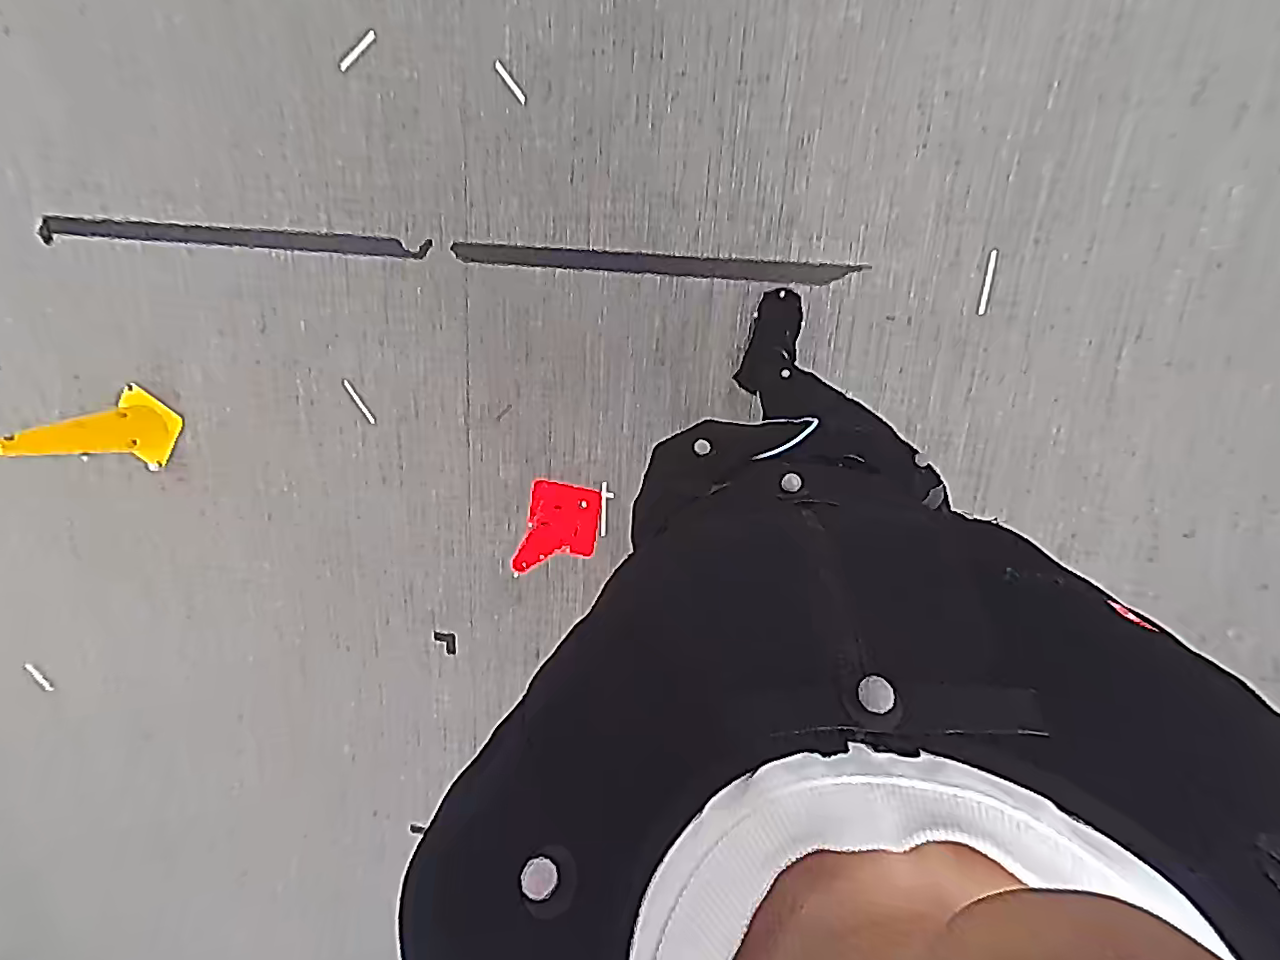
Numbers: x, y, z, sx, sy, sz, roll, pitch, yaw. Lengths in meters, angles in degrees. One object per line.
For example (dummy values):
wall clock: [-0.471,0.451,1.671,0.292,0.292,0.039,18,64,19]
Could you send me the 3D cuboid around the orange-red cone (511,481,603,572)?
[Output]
orange-red cone: [-0.238,0.147,1.333,0.199,0.360,0.198,13,103,6]
